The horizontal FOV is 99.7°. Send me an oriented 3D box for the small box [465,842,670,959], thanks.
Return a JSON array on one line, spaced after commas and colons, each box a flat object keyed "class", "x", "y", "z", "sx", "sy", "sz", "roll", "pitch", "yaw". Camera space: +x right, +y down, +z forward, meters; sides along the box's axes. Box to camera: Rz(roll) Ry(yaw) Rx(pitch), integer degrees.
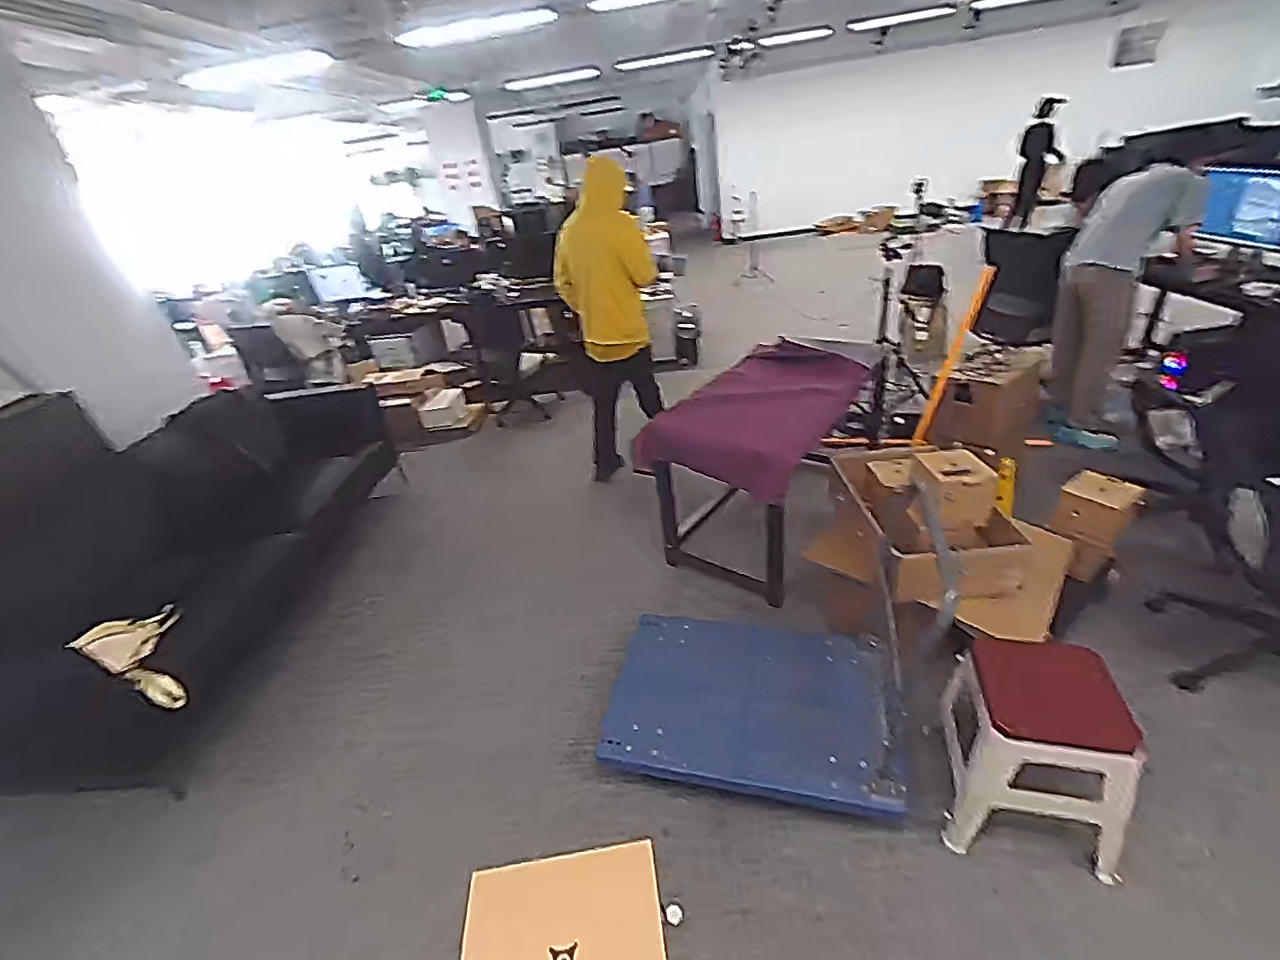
[{"class": "small box", "x": -0.054, "y": 0.459, "z": 0.470, "sx": 0.168, "sy": 0.176, "sz": 0.179, "roll": -8, "pitch": 32, "yaw": -2}]
